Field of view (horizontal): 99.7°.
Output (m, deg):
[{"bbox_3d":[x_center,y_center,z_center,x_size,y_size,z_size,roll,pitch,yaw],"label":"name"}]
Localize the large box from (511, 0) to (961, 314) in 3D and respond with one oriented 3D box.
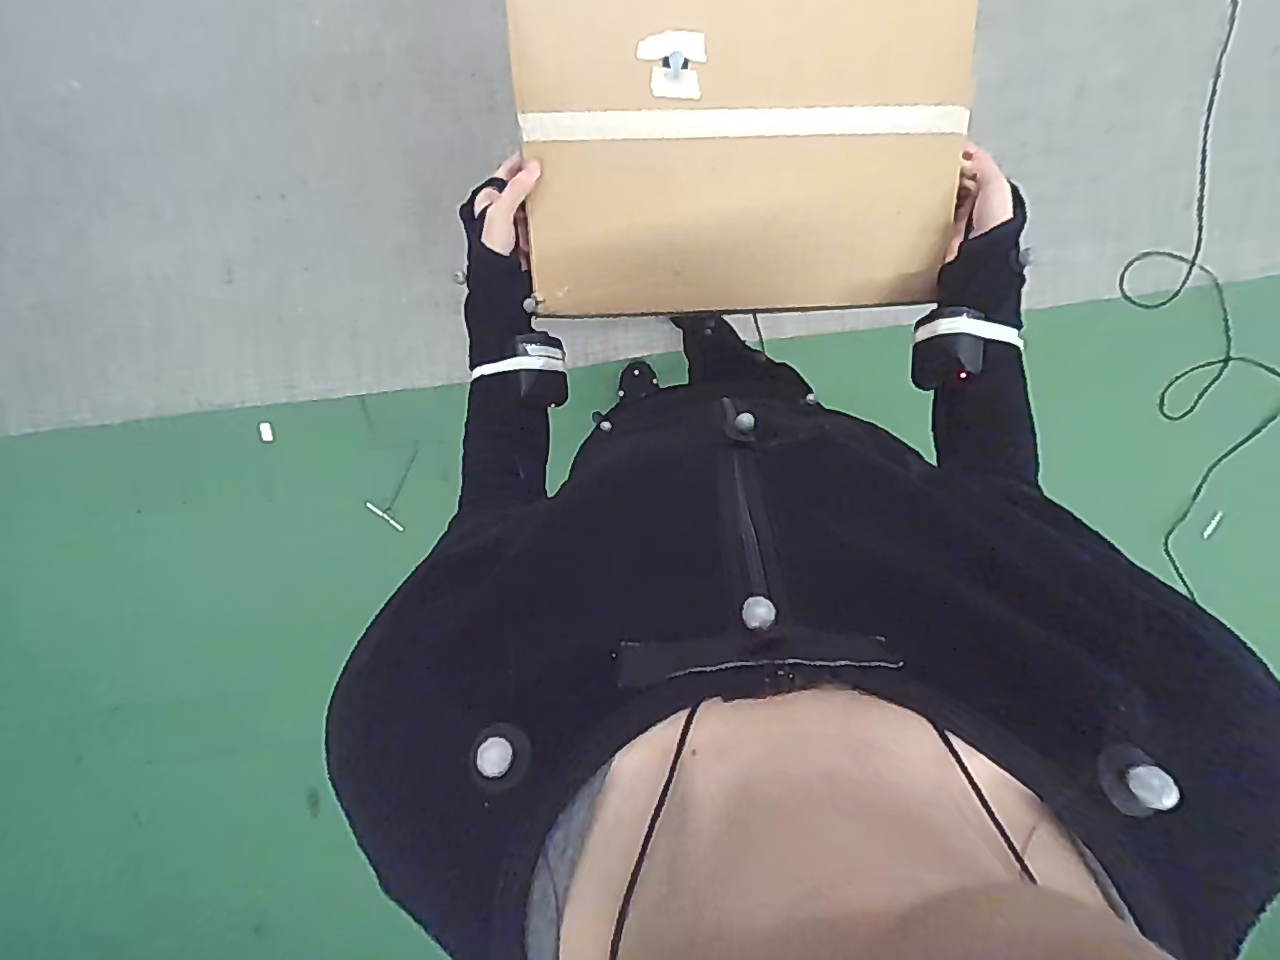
[{"bbox_3d":[0.083,-0.367,0.642,0.408,0.320,0.320,-3,106,-3],"label":"large box"}]
